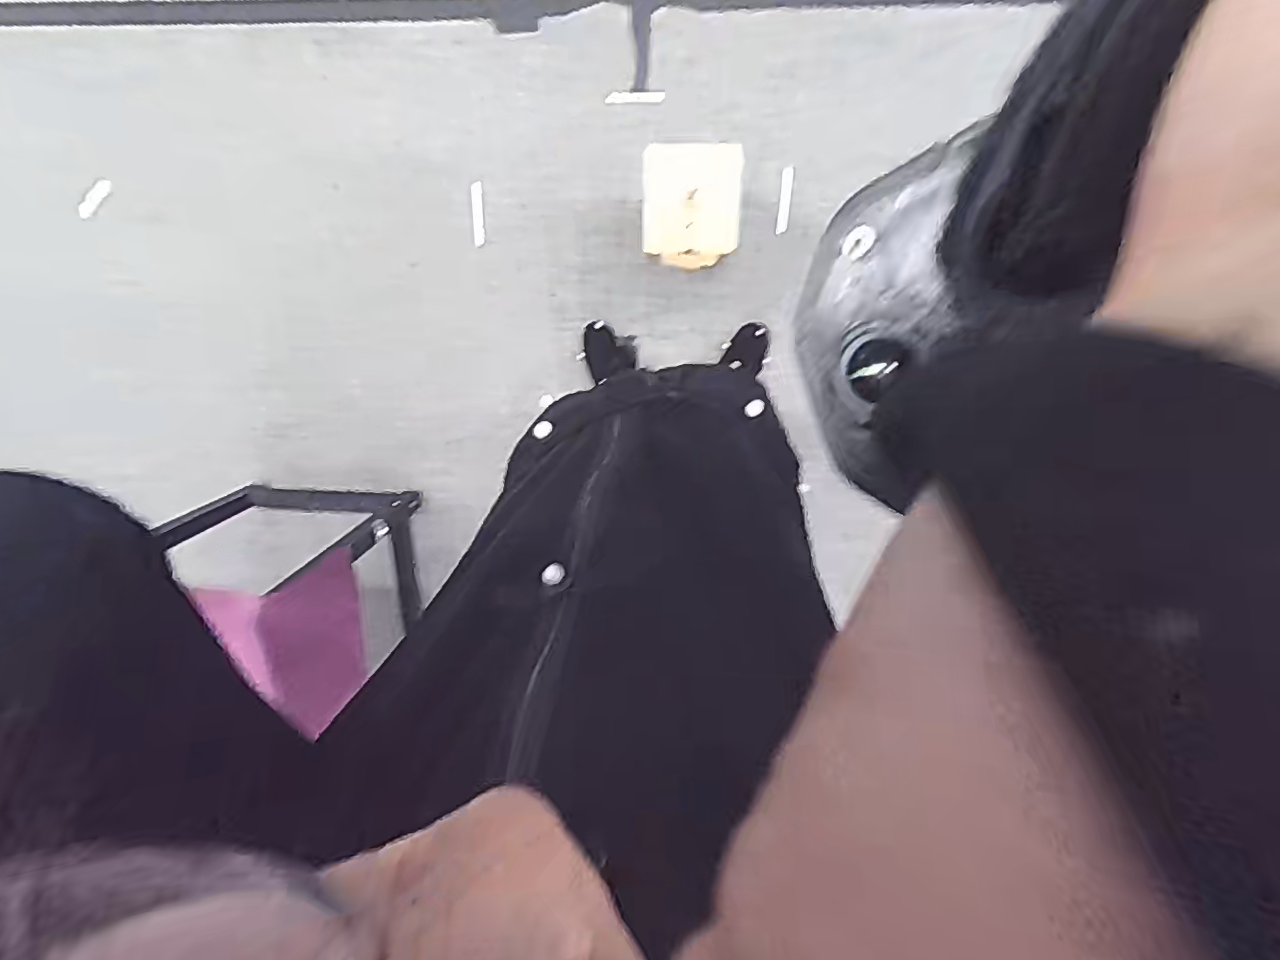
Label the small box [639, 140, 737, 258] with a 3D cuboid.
[{"bbox_3d":[0.084,-0.519,1.018,0.168,0.176,0.179,2,110,2],"label":"small box"}]
